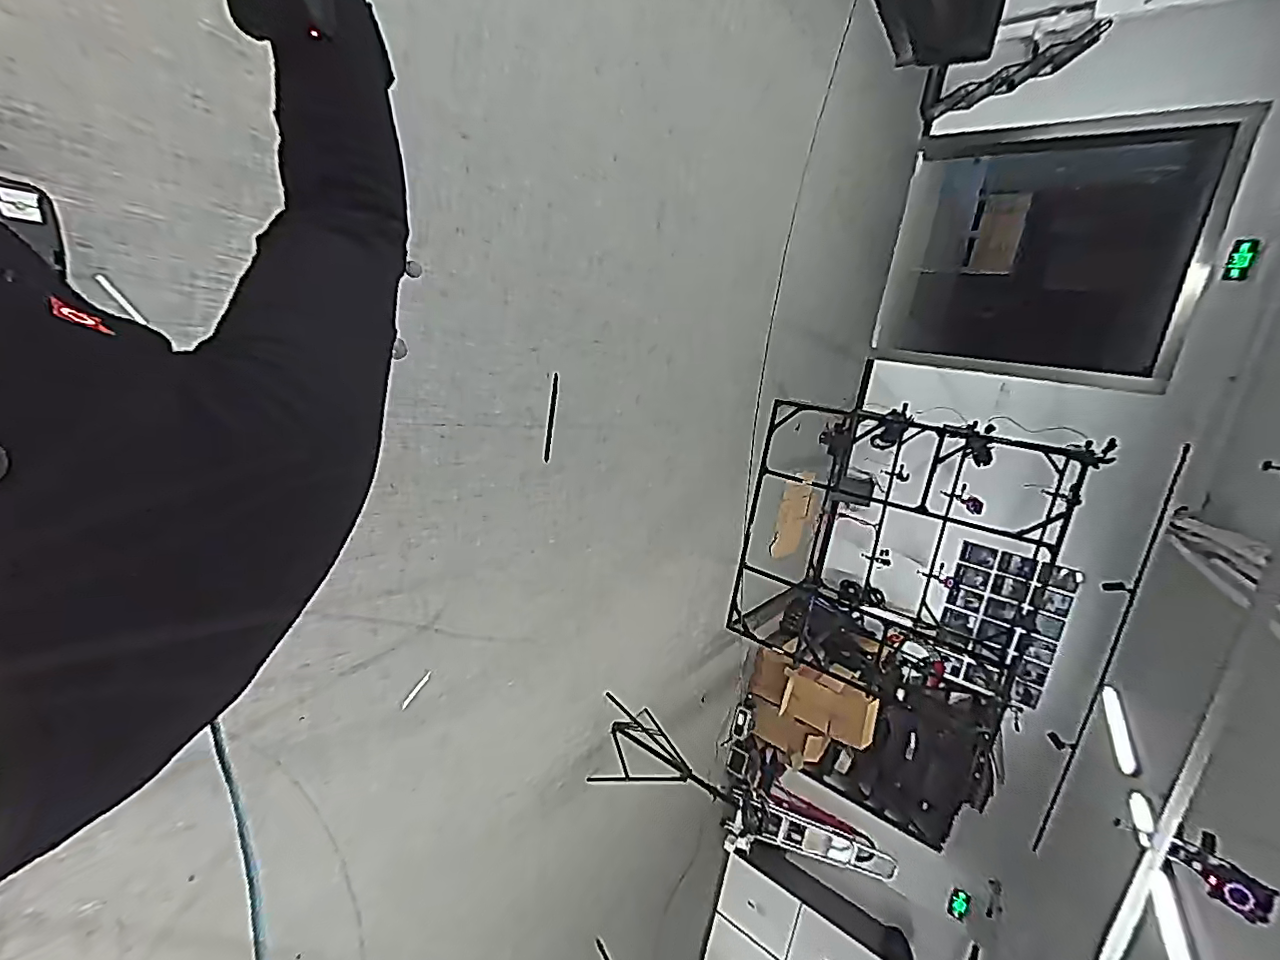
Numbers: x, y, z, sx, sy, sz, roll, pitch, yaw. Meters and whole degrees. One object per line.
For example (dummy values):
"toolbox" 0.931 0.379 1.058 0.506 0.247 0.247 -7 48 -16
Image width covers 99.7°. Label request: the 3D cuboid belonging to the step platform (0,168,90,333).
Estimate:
"step platform" -1.322 -0.405 0.821 0.684 0.204 0.286 -11 113 -54
